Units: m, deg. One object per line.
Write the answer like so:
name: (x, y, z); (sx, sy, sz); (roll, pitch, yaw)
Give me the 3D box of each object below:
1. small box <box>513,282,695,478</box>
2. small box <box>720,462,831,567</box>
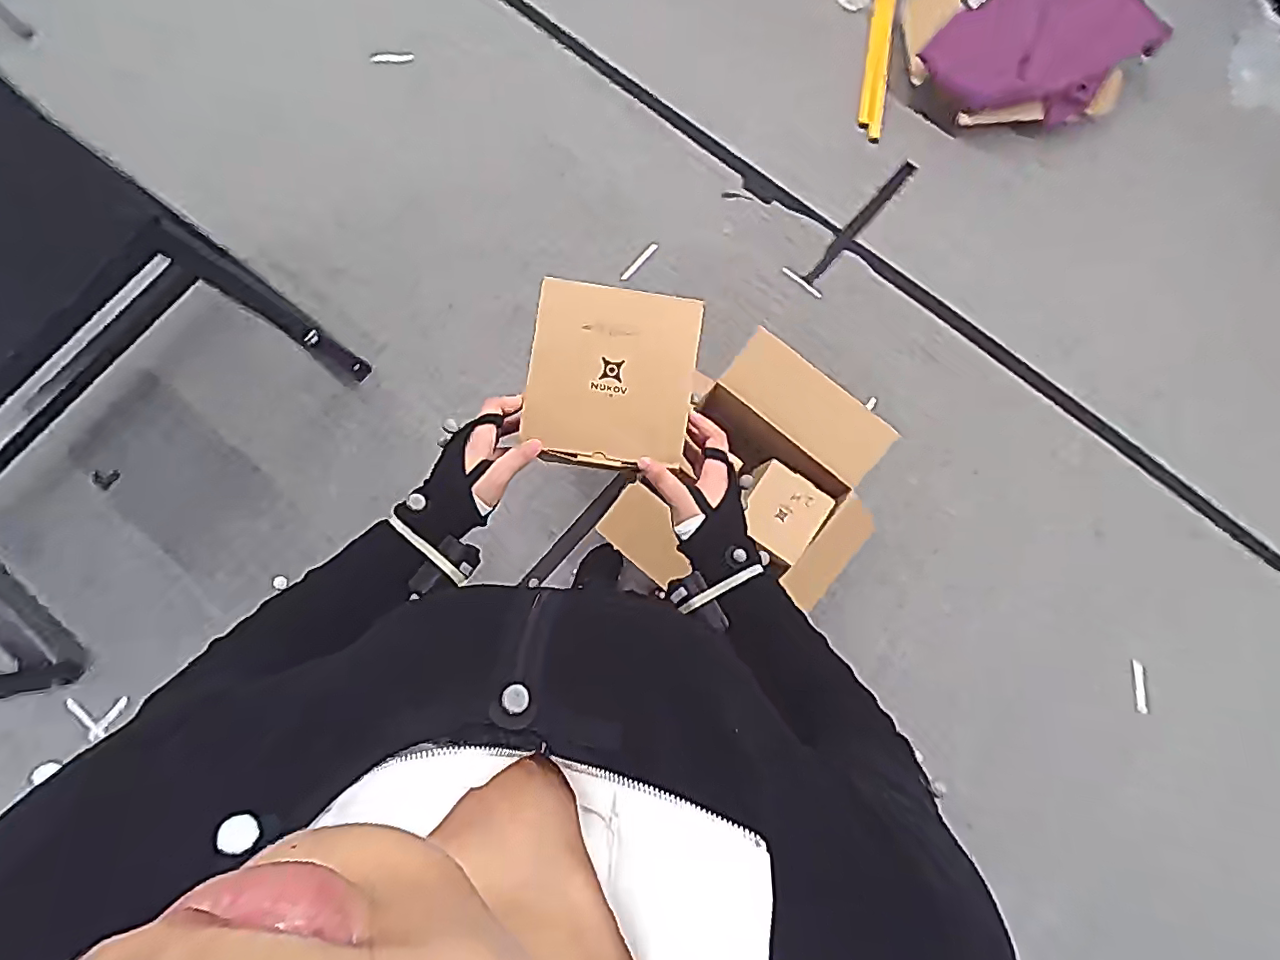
small box: (-0.037, -0.099, 0.619); (0.168, 0.176, 0.179); (7, 87, -2)
small box: (0.303, 0.083, 1.254); (0.168, 0.176, 0.179); (35, 84, 2)
